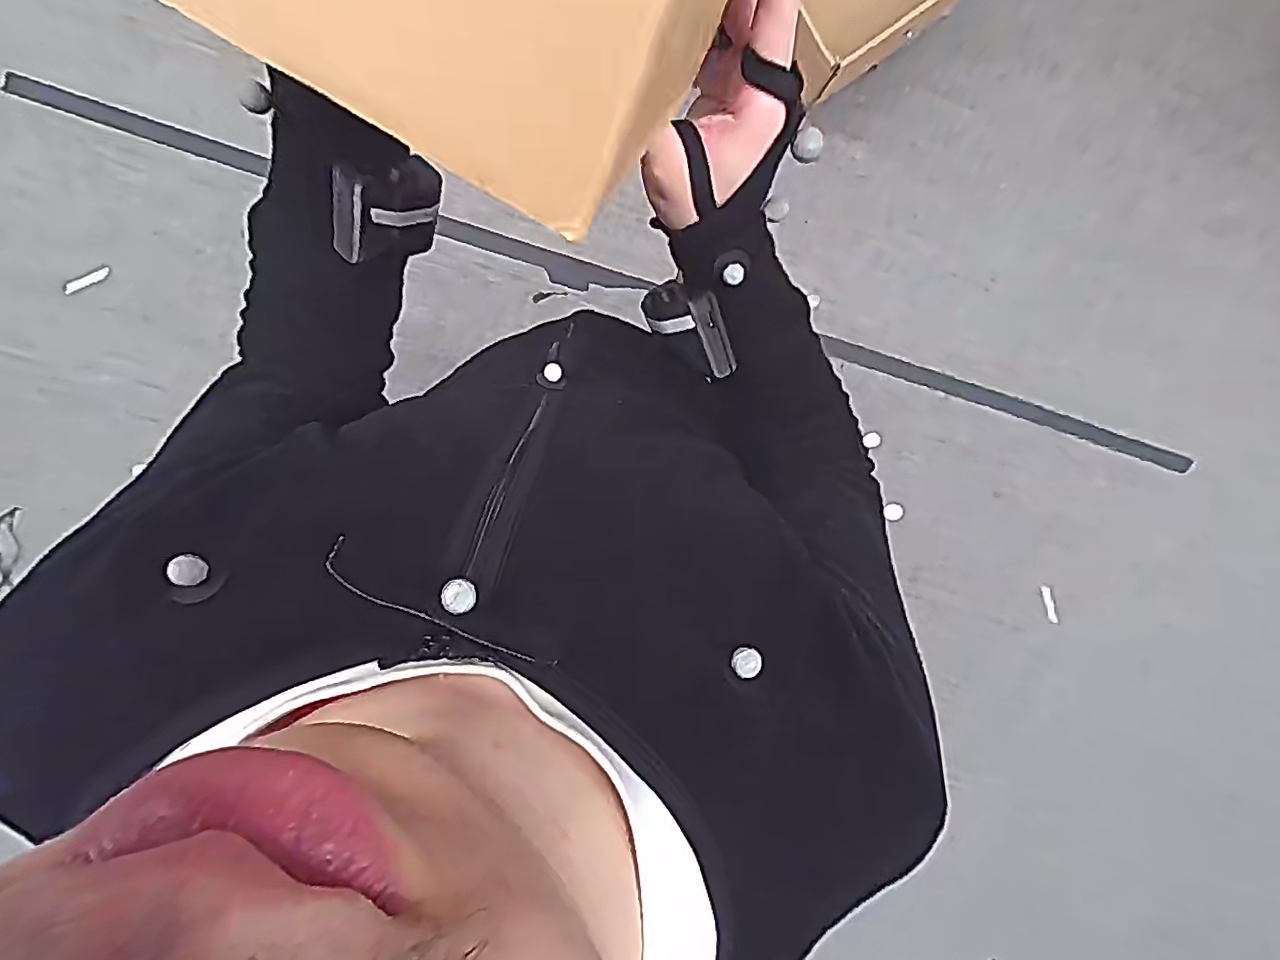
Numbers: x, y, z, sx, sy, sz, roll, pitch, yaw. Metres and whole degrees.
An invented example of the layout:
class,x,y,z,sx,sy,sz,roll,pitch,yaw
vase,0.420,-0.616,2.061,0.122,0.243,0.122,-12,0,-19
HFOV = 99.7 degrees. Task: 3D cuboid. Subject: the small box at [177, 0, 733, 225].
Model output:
class,x,y,z,sx,sy,sz,roll,pitch,yaw
small box,-0.040,-0.216,0.145,0.179,0.176,0.168,27,141,-9
